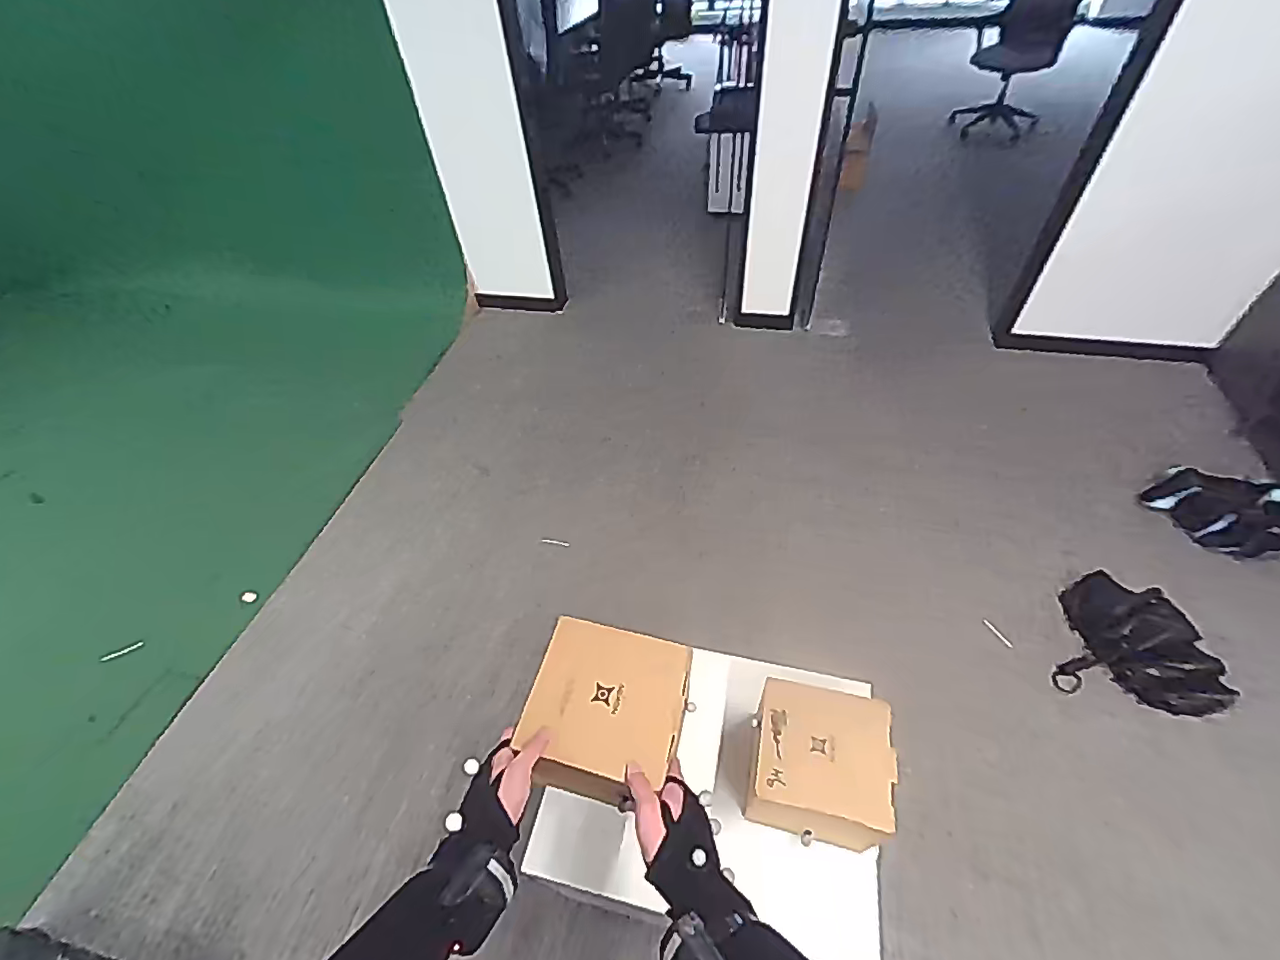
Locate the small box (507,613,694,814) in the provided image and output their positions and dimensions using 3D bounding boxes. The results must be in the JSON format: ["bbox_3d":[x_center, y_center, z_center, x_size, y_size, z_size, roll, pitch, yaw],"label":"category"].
[{"bbox_3d":[-0.038,0.293,0.671,0.179,0.176,0.168,10,49,10],"label":"small box"}]

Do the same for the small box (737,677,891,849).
[{"bbox_3d":[0.248,0.417,0.790,0.179,0.176,0.168,11,49,11],"label":"small box"}]
